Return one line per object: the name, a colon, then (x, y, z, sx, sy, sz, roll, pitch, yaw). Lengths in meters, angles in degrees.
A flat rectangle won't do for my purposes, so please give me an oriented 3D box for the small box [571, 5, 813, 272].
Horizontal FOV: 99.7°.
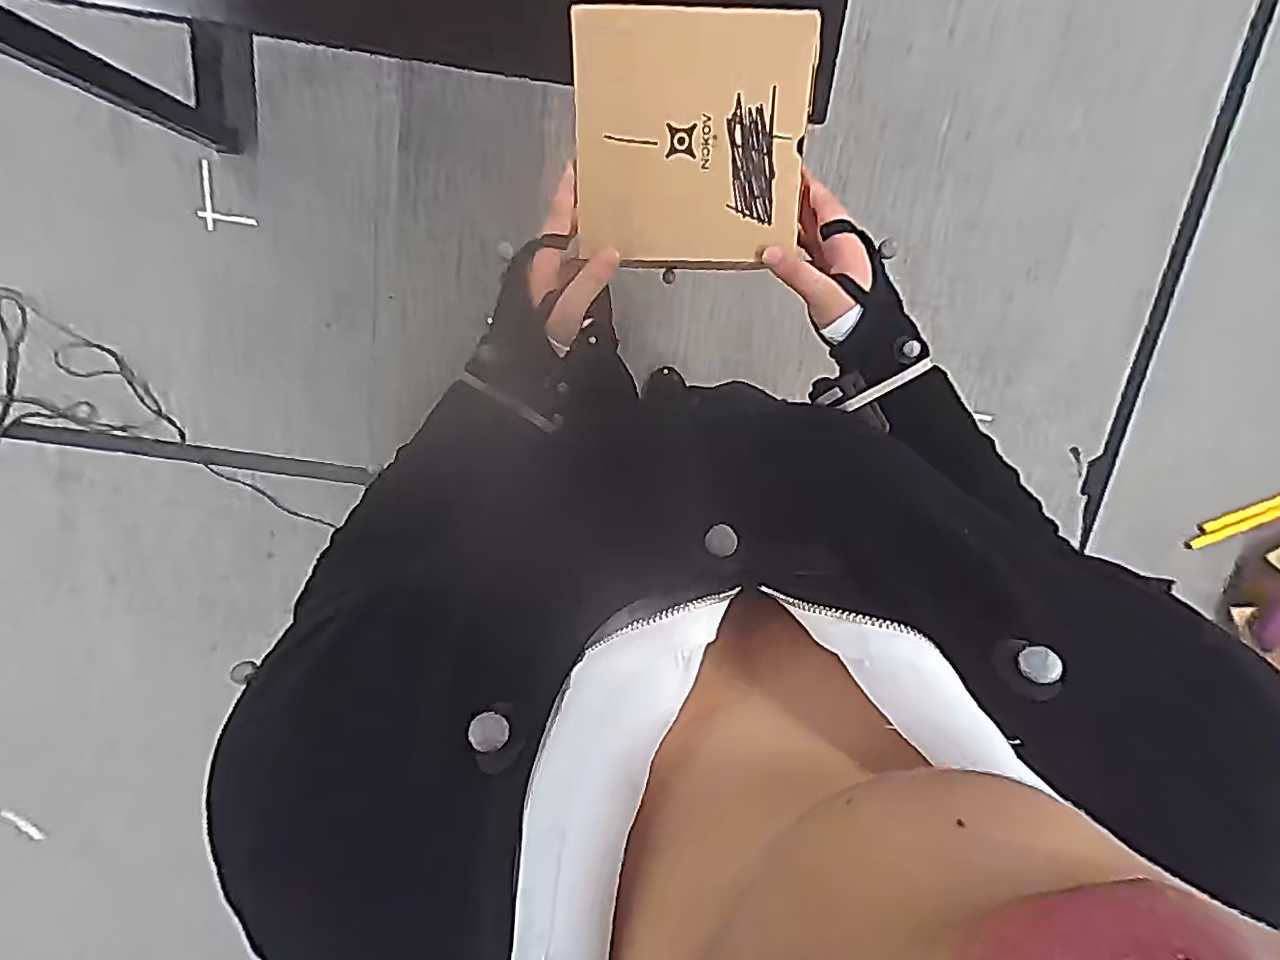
small box: (0.033, -0.279, 0.482, 0.179, 0.176, 0.168, 1, 109, -2)
